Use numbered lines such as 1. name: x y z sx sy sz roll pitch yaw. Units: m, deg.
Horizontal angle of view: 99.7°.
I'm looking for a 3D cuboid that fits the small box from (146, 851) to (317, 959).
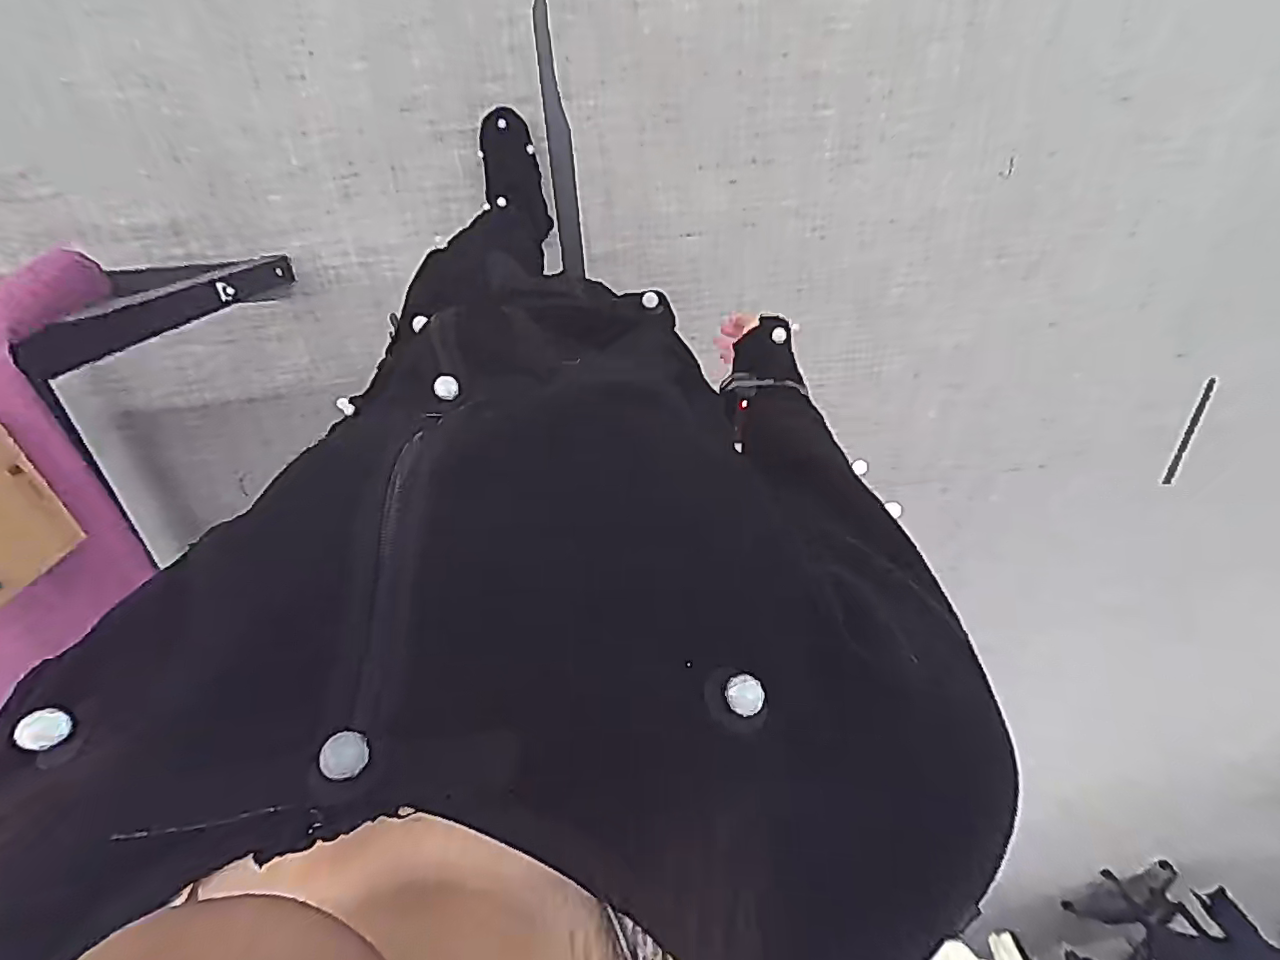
1. small box: -0.694 0.777 0.938 0.179 0.176 0.168 -5 119 -4
